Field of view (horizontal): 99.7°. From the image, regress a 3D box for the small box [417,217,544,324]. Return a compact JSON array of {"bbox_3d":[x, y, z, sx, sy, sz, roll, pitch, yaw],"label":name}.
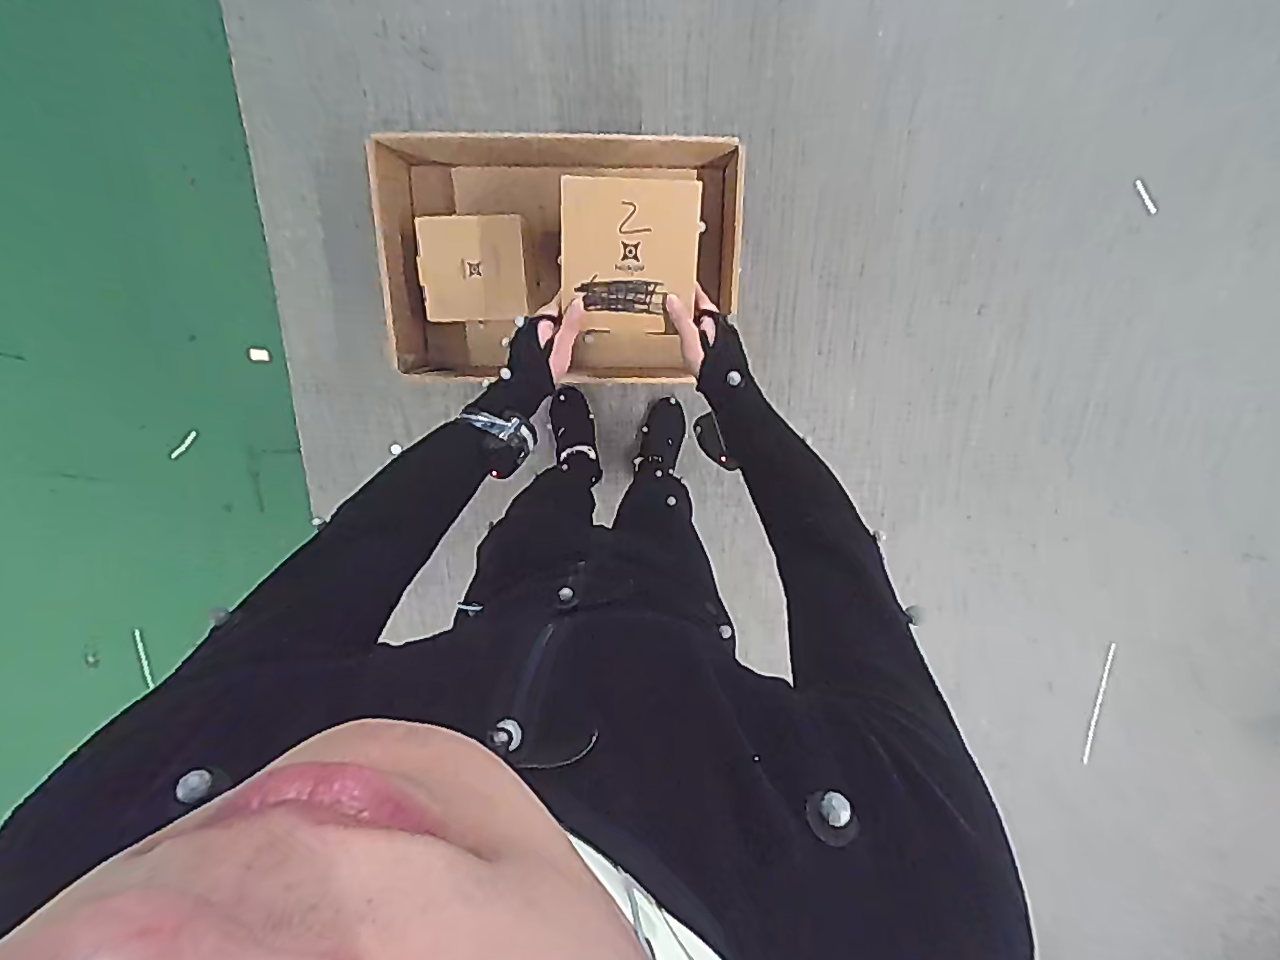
[{"bbox_3d":[-0.277,-0.370,0.976,0.179,0.176,0.168,-1,106,-1],"label":"small box"}]
